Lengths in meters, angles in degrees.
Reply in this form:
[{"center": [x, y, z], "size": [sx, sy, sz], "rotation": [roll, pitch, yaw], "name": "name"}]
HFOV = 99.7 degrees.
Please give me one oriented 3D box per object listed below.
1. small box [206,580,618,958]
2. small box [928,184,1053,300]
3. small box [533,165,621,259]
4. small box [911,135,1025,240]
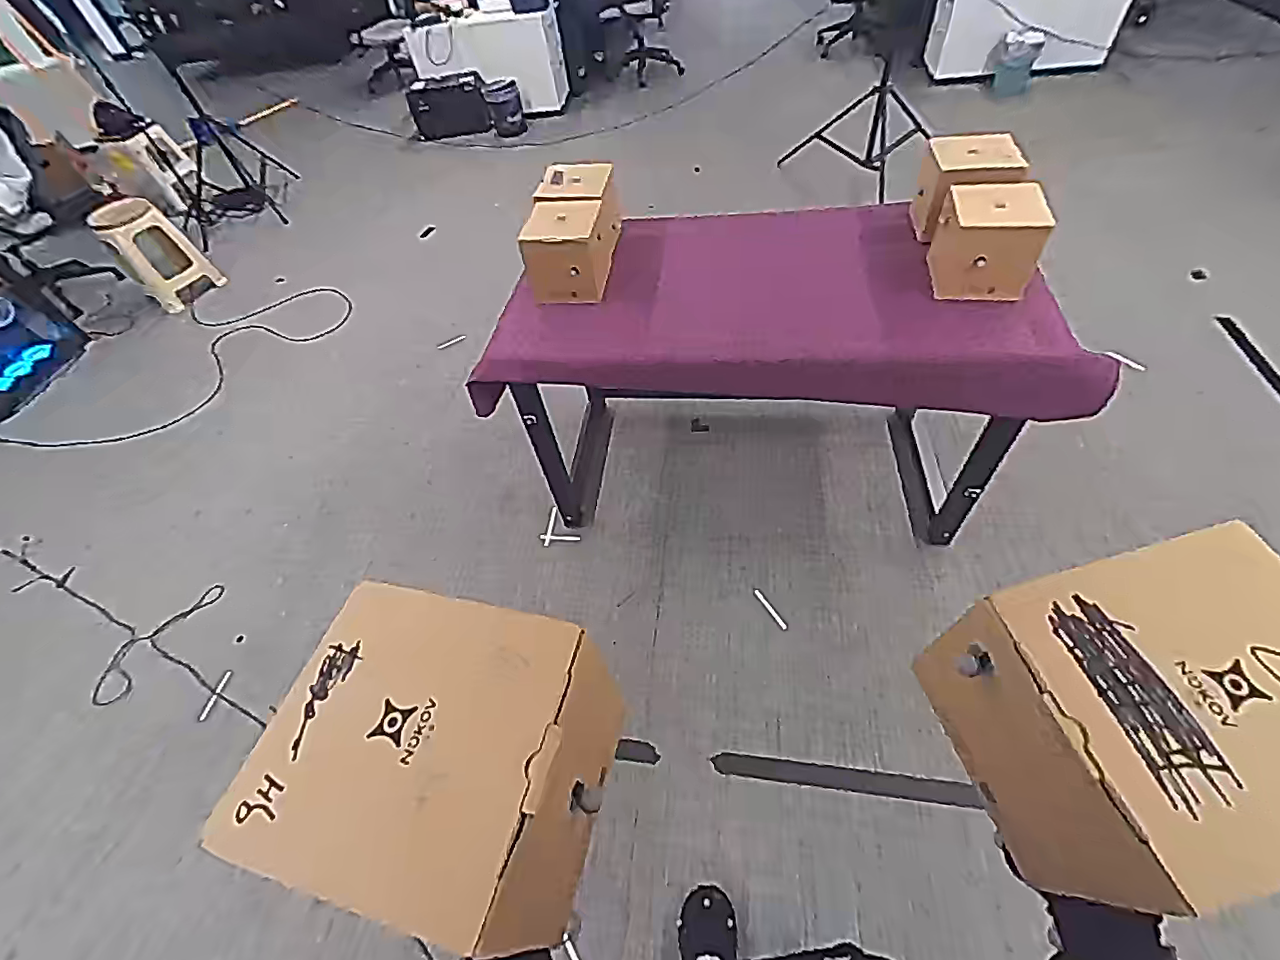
[{"center": [-0.124, 0.195, 0.380], "size": [0.179, 0.176, 0.168], "rotation": [8, 53, 15], "name": "small box"}, {"center": [0.726, -0.498, 1.142], "size": [0.168, 0.176, 0.179], "rotation": [6, 53, 13], "name": "small box"}, {"center": [-0.156, -0.697, 1.413], "size": [0.179, 0.176, 0.168], "rotation": [5, 55, 10], "name": "small box"}, {"center": [0.755, -0.679, 1.269], "size": [0.179, 0.176, 0.168], "rotation": [3, 54, 10], "name": "small box"}]
